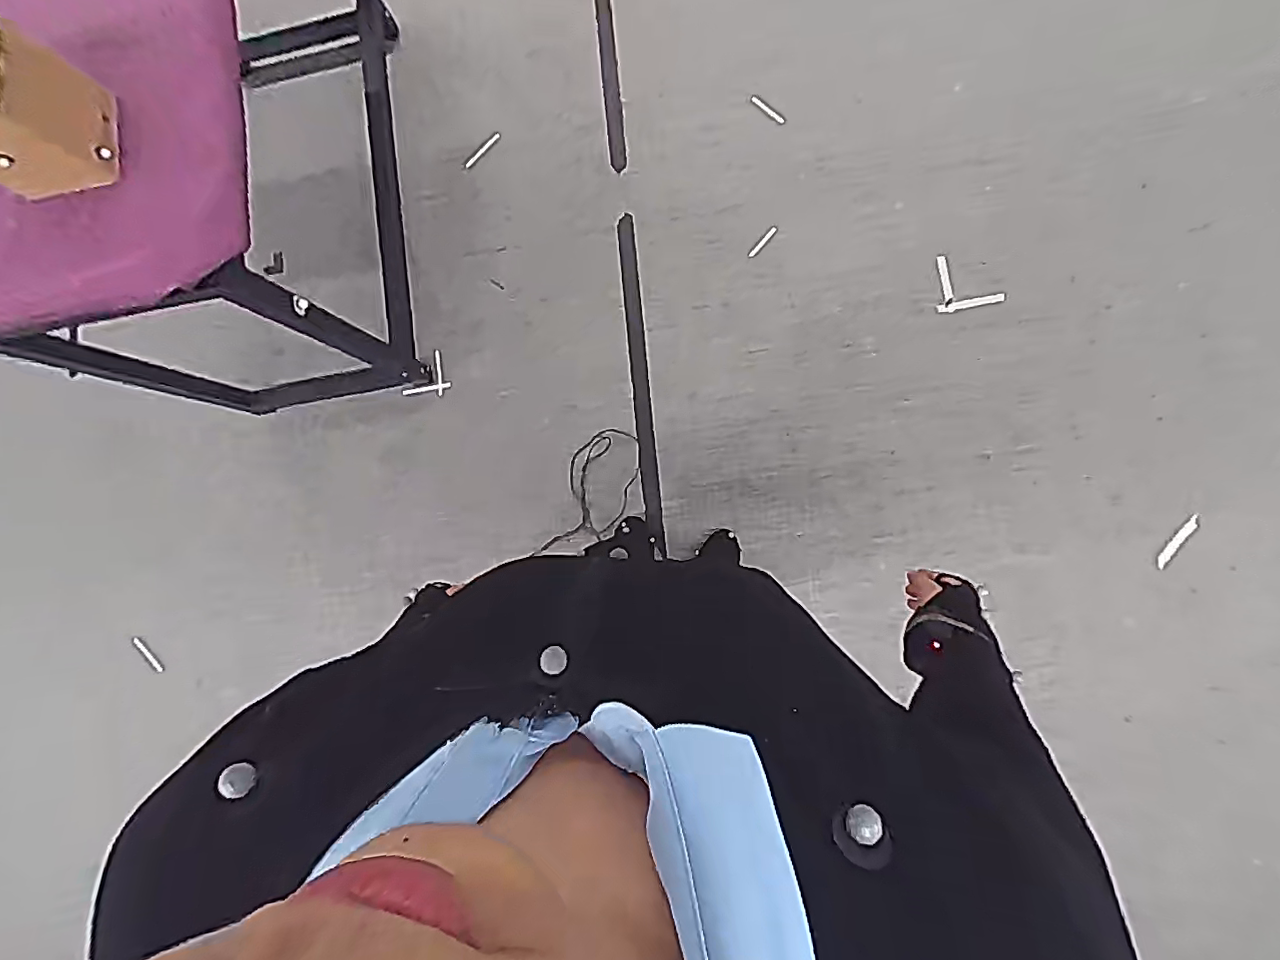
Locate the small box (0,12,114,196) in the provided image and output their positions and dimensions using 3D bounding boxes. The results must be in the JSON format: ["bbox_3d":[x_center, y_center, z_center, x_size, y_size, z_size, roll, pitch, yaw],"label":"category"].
[{"bbox_3d":[-0.999,-0.589,0.865,0.179,0.176,0.168,-7,84,6],"label":"small box"}]
